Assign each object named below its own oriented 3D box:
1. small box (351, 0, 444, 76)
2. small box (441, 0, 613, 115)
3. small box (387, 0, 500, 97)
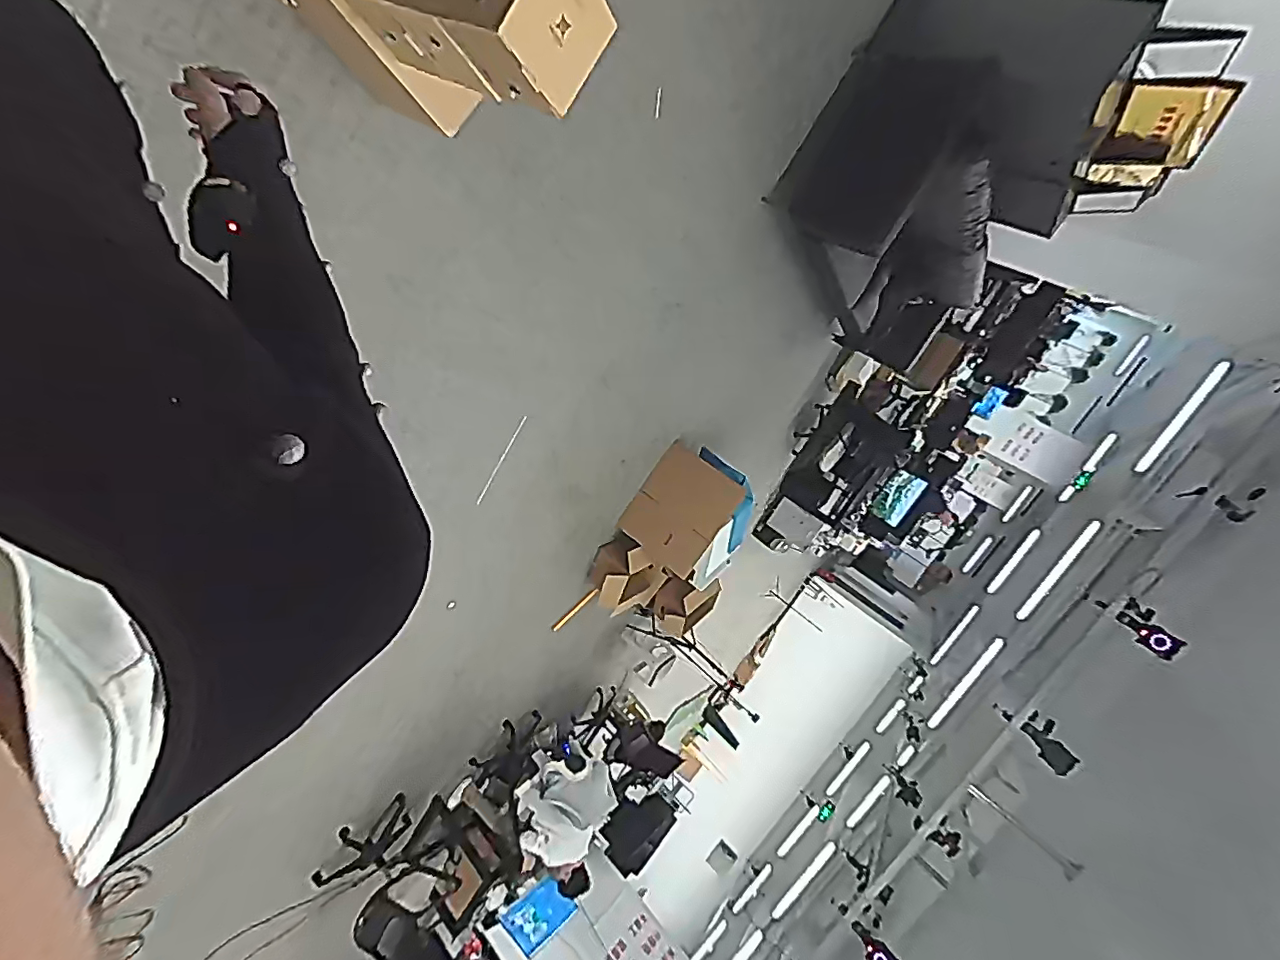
[{"bbox_3d":[-0.417,-0.900,0.991,0.179,0.176,0.168,-54,154,5],"label":"small box"},{"bbox_3d":[-0.180,-0.726,0.843,0.179,0.176,0.168,-56,158,4],"label":"small box"},{"bbox_3d":[-0.301,-0.810,0.922,0.179,0.176,0.168,-56,153,5],"label":"small box"}]
